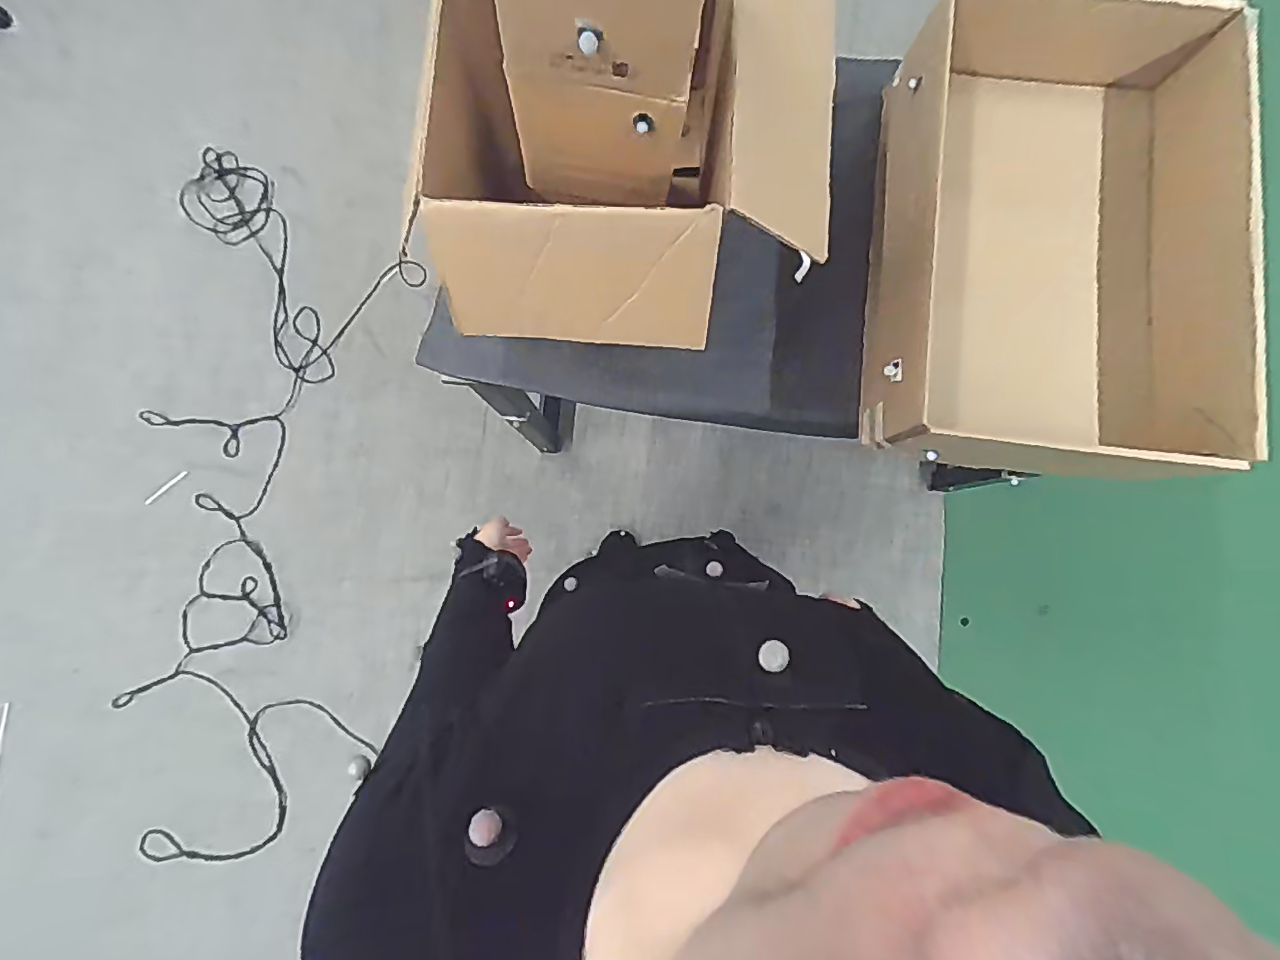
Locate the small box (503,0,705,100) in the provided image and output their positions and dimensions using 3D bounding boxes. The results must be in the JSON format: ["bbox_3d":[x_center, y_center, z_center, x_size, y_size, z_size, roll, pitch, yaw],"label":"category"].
[{"bbox_3d":[-0.025,-0.459,0.433,0.168,0.176,0.179,5,82,-4],"label":"small box"}]
